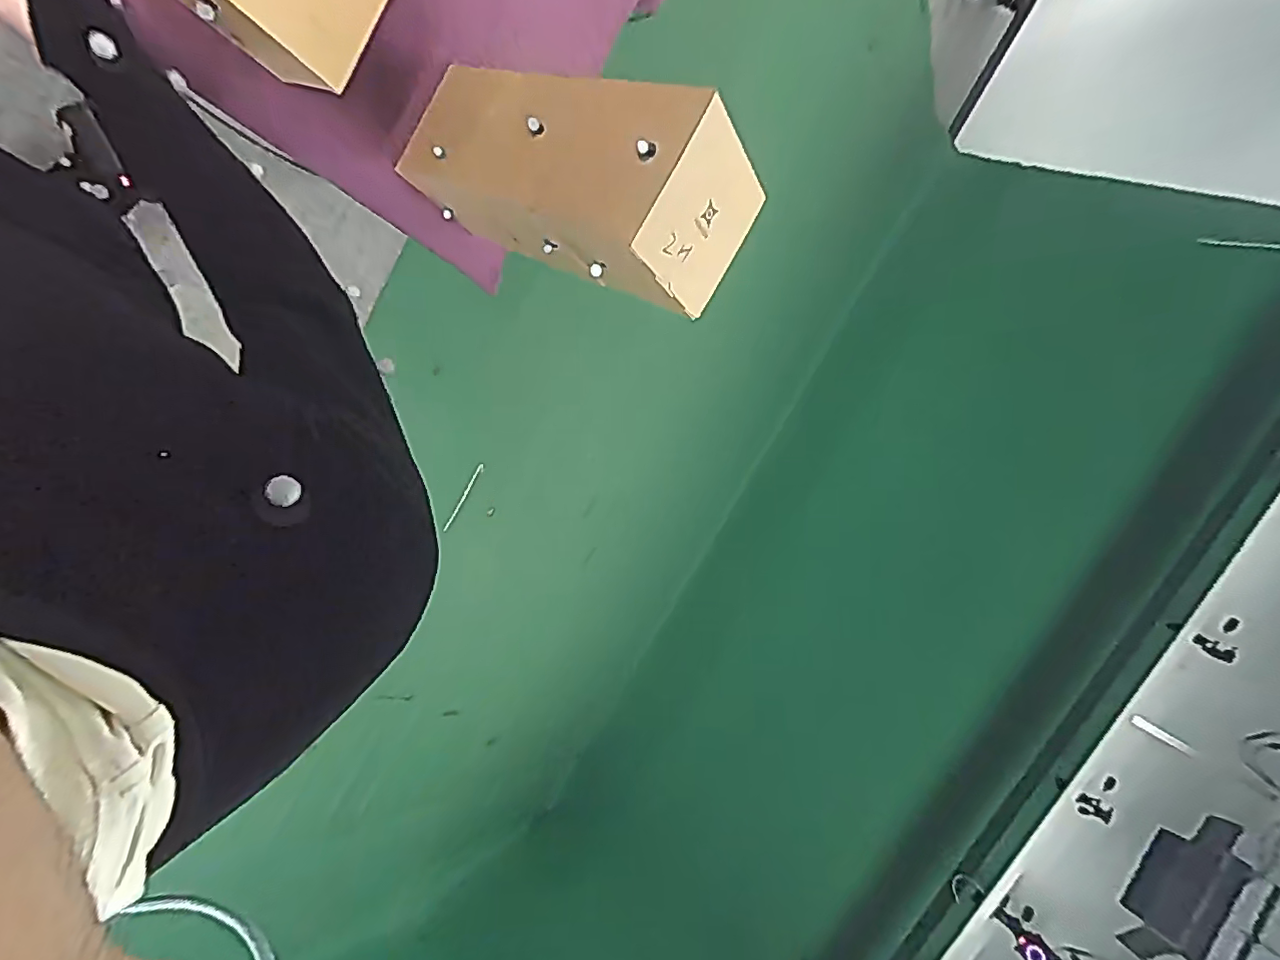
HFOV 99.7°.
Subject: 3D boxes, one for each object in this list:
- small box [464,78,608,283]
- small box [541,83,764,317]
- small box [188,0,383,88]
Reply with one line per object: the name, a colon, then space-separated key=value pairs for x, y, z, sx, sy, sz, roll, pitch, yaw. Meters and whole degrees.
small box: x=-0.105 y=-0.405 z=0.734 sx=0.179 sy=0.176 sz=0.168 roll=-60 pitch=147 yaw=3
small box: x=0.013 y=-0.332 z=0.646 sx=0.179 sy=0.176 sz=0.168 roll=-59 pitch=148 yaw=5
small box: x=-0.381 y=-0.547 z=0.550 sx=0.179 sy=0.176 sz=0.168 roll=-60 pitch=148 yaw=5
